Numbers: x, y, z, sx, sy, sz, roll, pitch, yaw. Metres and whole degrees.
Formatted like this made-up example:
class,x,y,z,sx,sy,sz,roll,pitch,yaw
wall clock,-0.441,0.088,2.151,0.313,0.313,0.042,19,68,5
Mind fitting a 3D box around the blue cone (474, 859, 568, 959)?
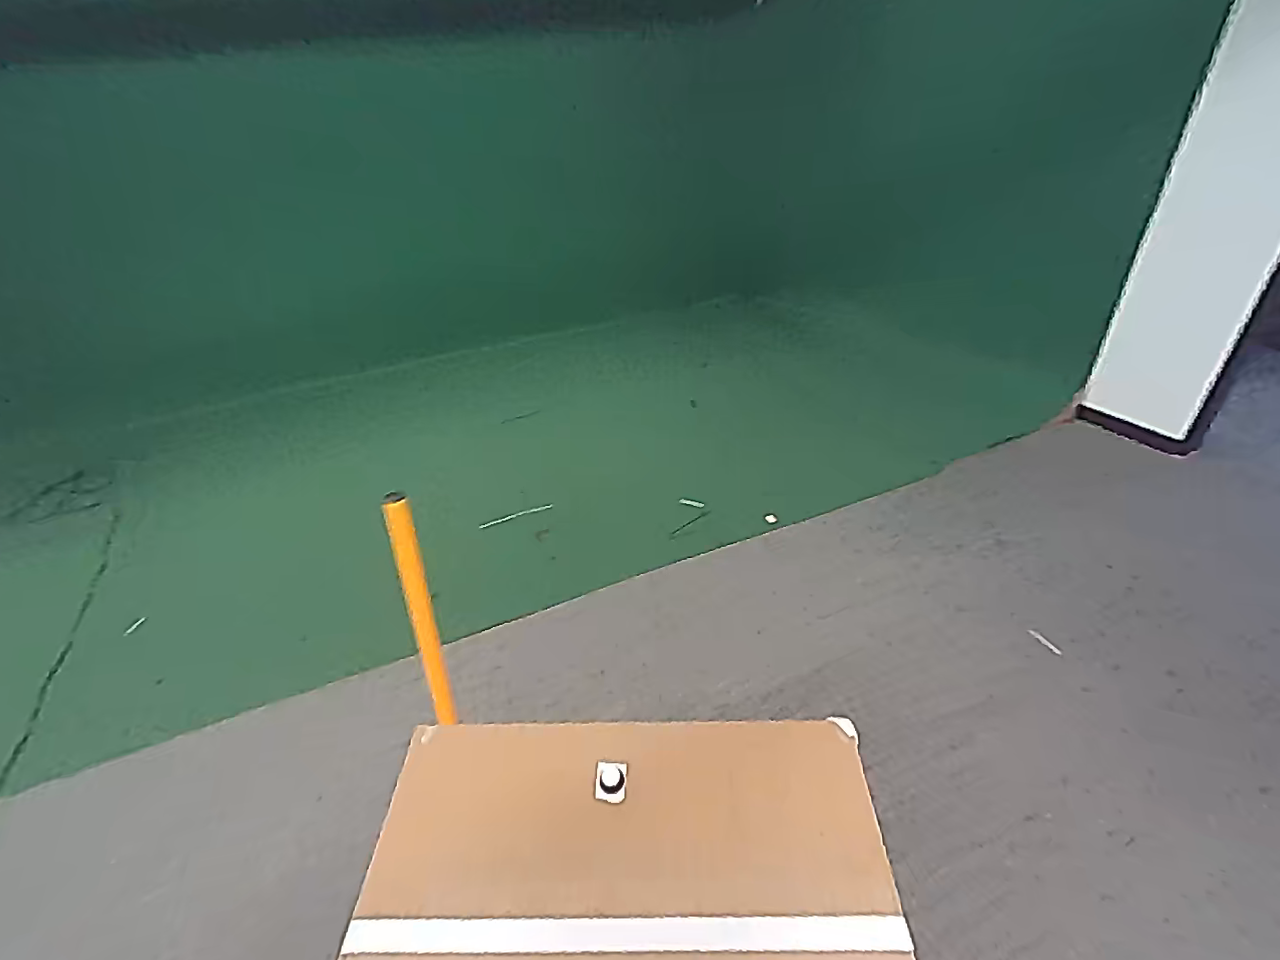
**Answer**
class,x,y,z,sx,sy,sz,roll,pitch,yaw
blue cone,-0.286,0.893,1.141,0.193,0.380,0.192,-17,36,-18
